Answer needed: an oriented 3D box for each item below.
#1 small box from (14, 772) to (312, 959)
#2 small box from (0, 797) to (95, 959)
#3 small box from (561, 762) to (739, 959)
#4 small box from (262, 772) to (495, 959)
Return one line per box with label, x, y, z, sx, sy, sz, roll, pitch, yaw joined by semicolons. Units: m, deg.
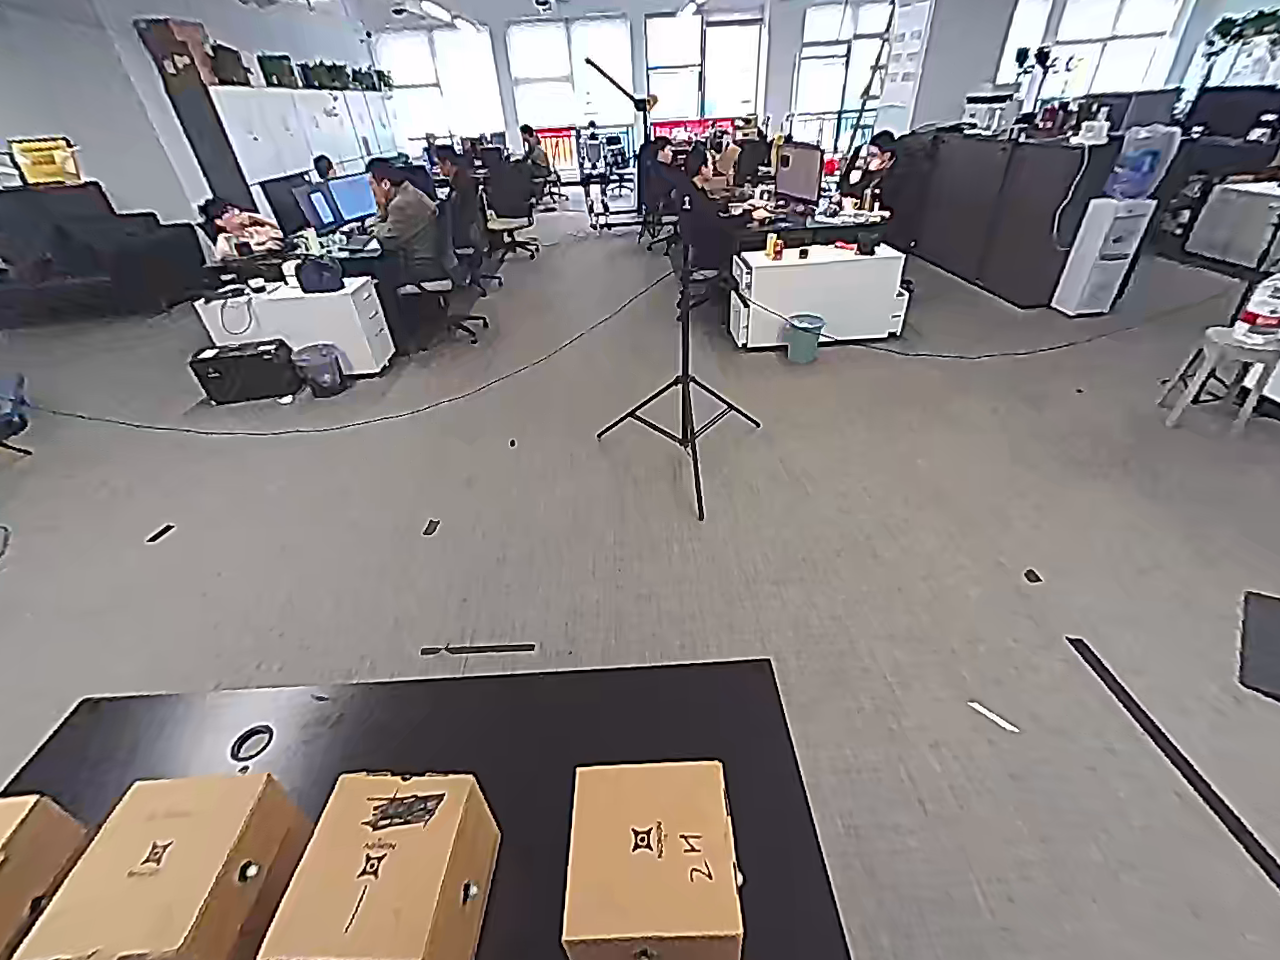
small box;-0.525;0.478;0.636;0.168;0.176;0.179;-3;34;-2
small box;-0.787;0.497;0.625;0.179;0.176;0.168;-4;35;-3
small box;0.015;0.452;0.625;0.179;0.176;0.168;-3;35;1
small box;-0.276;0.469;0.625;0.168;0.176;0.179;-1;35;3
